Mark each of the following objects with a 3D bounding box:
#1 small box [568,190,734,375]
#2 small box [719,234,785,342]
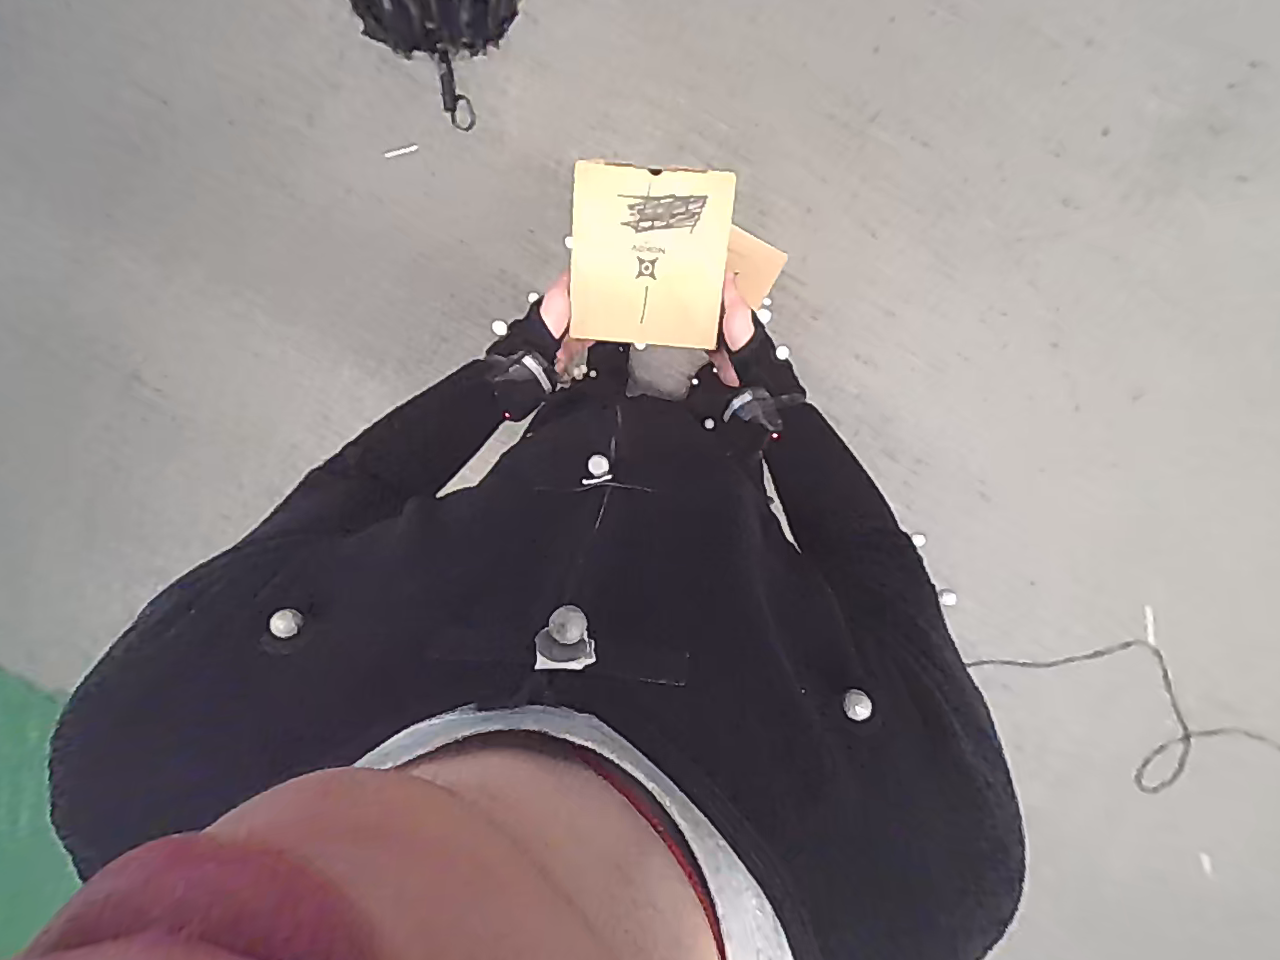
[{"bbox_3d":[0.010,-0.230,0.645,0.168,0.176,0.179,4,110,1],"label":"small box"},{"bbox_3d":[0.191,-0.418,1.174,0.168,0.176,0.179,27,107,-3],"label":"small box"}]
